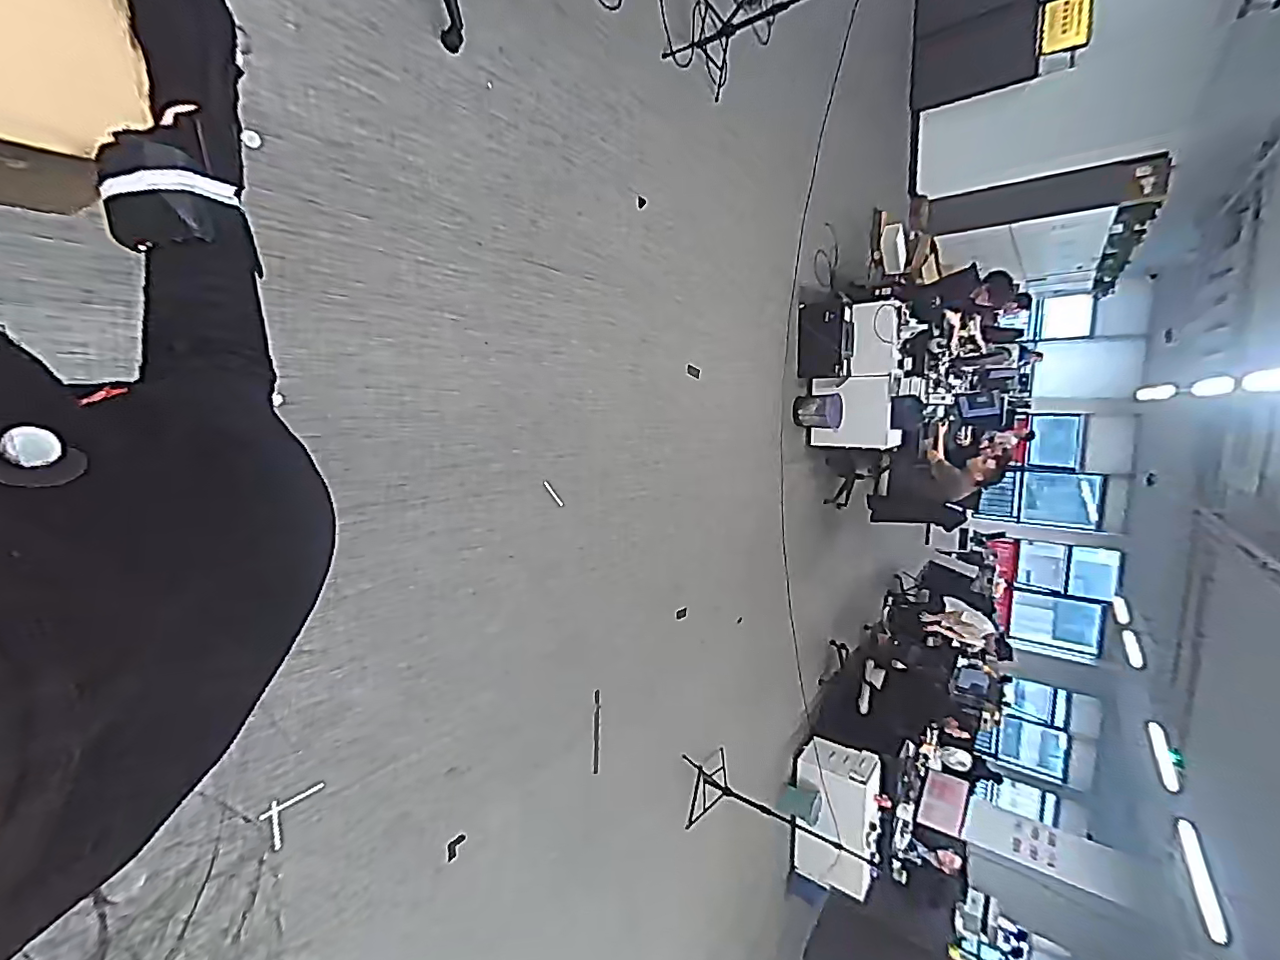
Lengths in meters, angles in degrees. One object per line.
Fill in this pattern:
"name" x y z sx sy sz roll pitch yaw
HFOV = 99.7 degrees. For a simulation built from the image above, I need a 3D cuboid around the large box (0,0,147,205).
"large box" -0.595 -0.377 0.294 0.408 0.320 0.320 -13 112 -53
